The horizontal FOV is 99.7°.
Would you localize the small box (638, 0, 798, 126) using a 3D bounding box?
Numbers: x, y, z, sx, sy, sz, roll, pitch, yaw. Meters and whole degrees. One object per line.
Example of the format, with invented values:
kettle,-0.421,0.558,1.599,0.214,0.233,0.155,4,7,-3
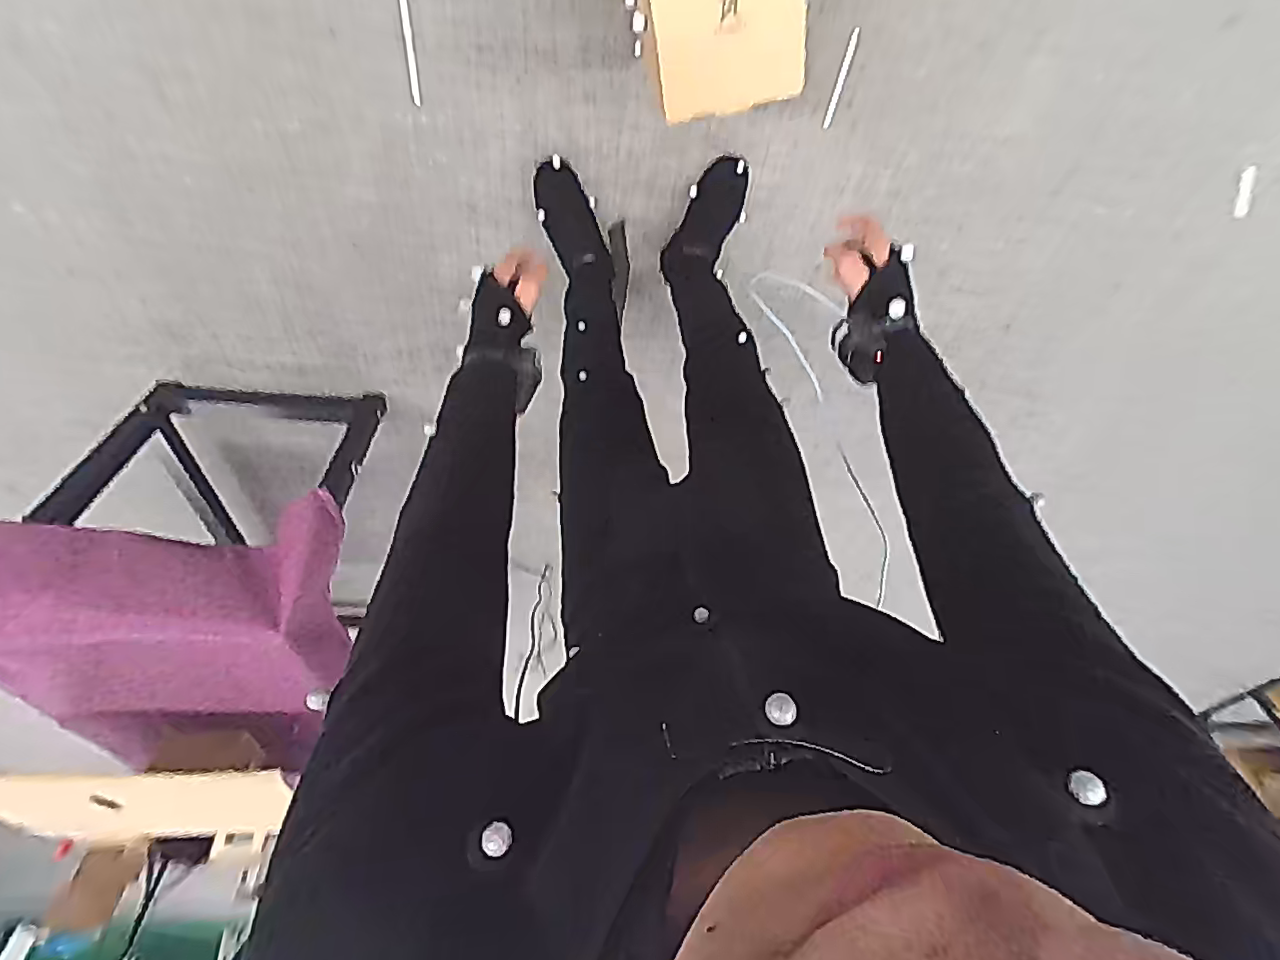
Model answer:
small box,0.087,-0.561,0.649,0.168,0.176,0.179,-10,136,4
